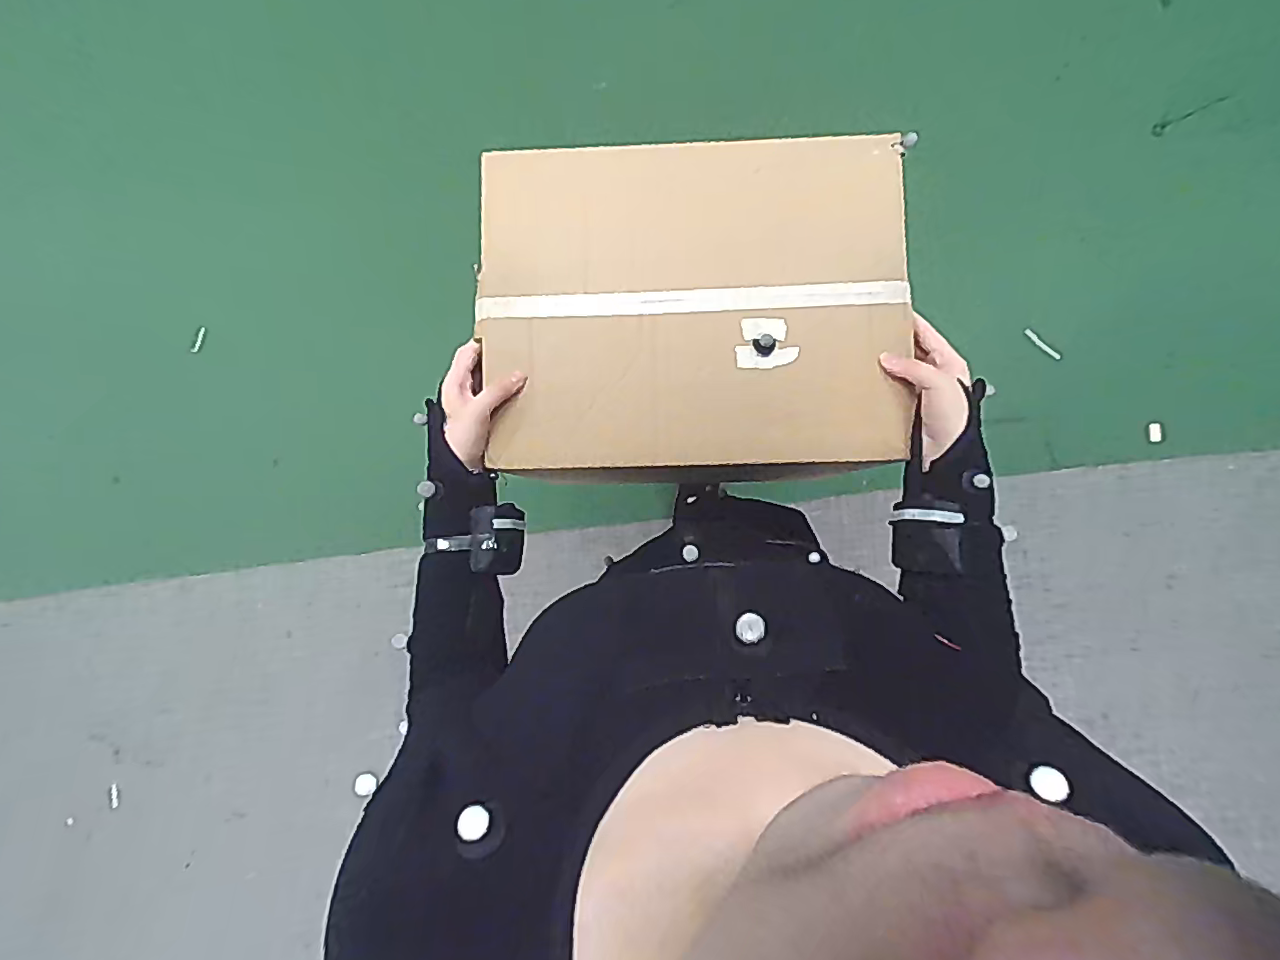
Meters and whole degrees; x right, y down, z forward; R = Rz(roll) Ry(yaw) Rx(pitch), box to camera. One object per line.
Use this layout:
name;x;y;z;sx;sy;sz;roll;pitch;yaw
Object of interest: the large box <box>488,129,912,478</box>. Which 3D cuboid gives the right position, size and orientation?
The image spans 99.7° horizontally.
large box;0.054;-0.173;0.668;0.408;0.320;0.320;-2;87;1
